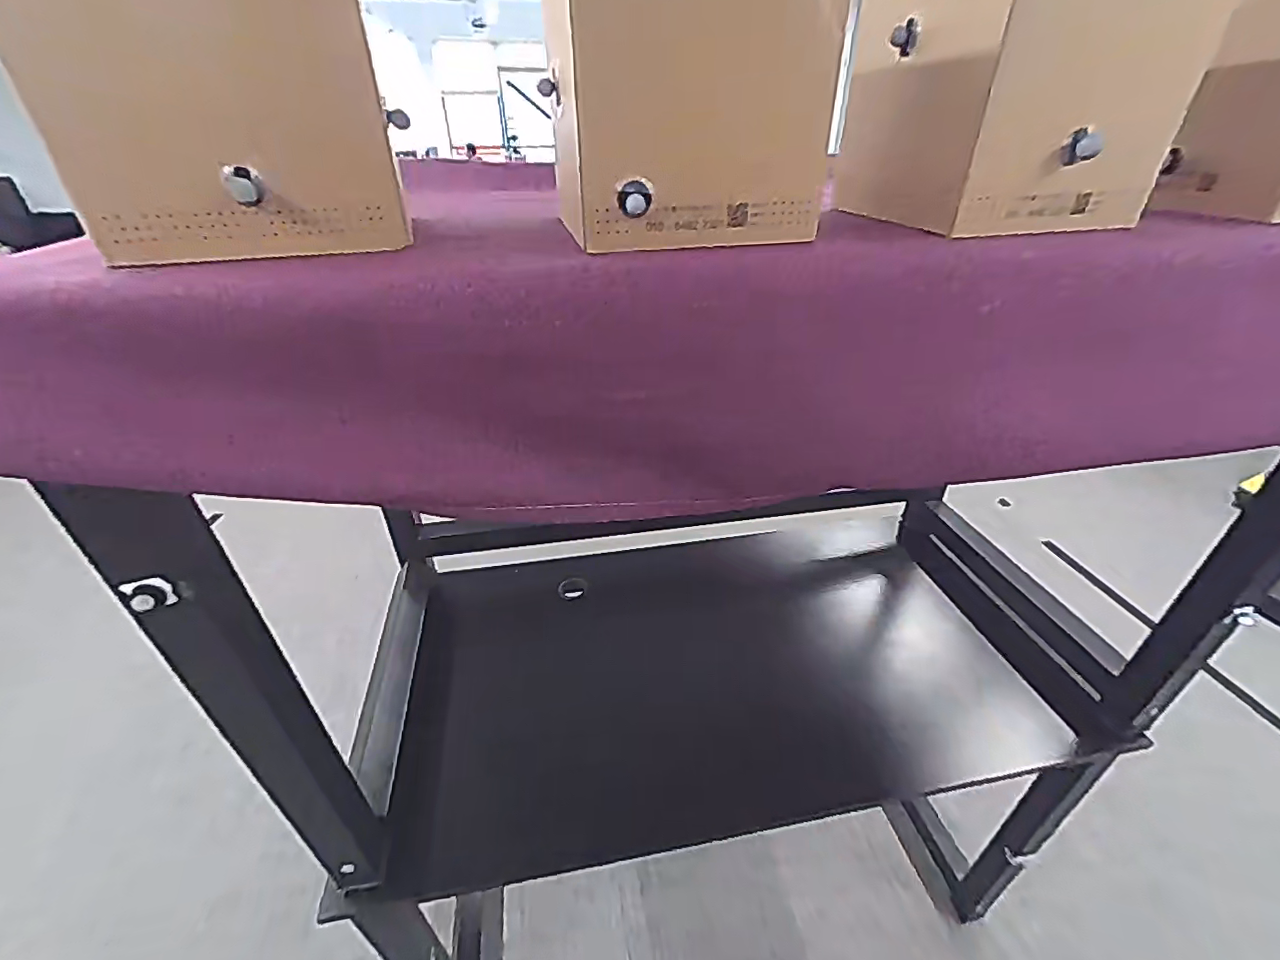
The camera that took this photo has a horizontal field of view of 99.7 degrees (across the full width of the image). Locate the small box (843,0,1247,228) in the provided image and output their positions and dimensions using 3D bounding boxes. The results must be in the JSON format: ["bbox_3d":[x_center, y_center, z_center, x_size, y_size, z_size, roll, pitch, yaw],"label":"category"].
[{"bbox_3d":[0.282,-0.297,0.416,0.168,0.176,0.179,-7,34,-10],"label":"small box"}]

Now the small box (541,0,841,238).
[{"bbox_3d":[0.025,-0.271,0.381,0.168,0.176,0.179,-7,33,-10],"label":"small box"}]

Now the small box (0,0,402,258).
[{"bbox_3d":[-0.263,-0.251,0.354,0.179,0.176,0.168,-11,34,-17],"label":"small box"}]
